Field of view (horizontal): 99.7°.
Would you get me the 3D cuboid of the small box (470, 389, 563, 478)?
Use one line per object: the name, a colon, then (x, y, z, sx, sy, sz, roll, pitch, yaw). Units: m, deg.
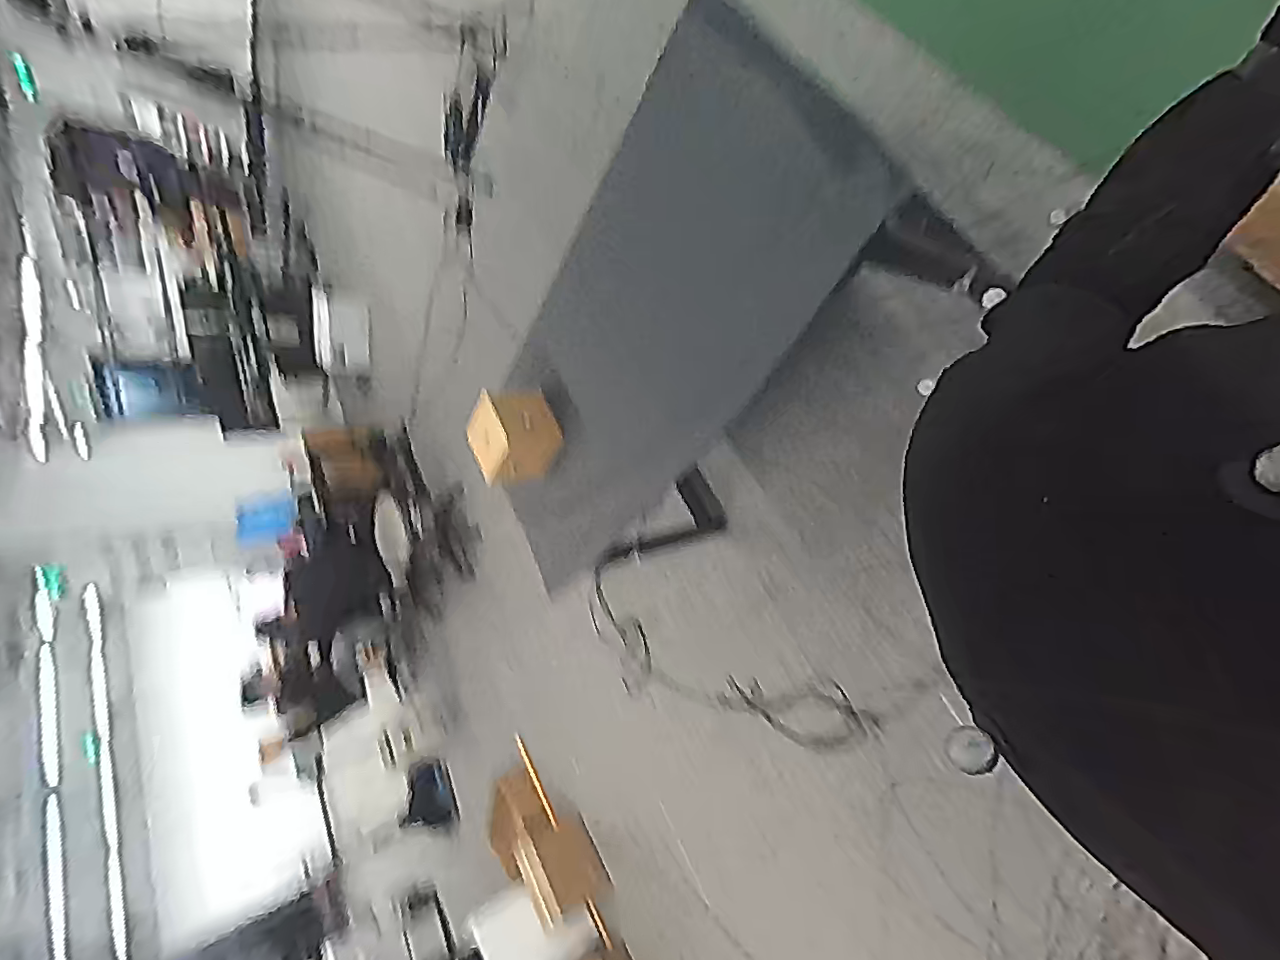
small box: (-0.327, -0.131, 1.445, 0.179, 0.176, 0.168, -51, 60, 42)
